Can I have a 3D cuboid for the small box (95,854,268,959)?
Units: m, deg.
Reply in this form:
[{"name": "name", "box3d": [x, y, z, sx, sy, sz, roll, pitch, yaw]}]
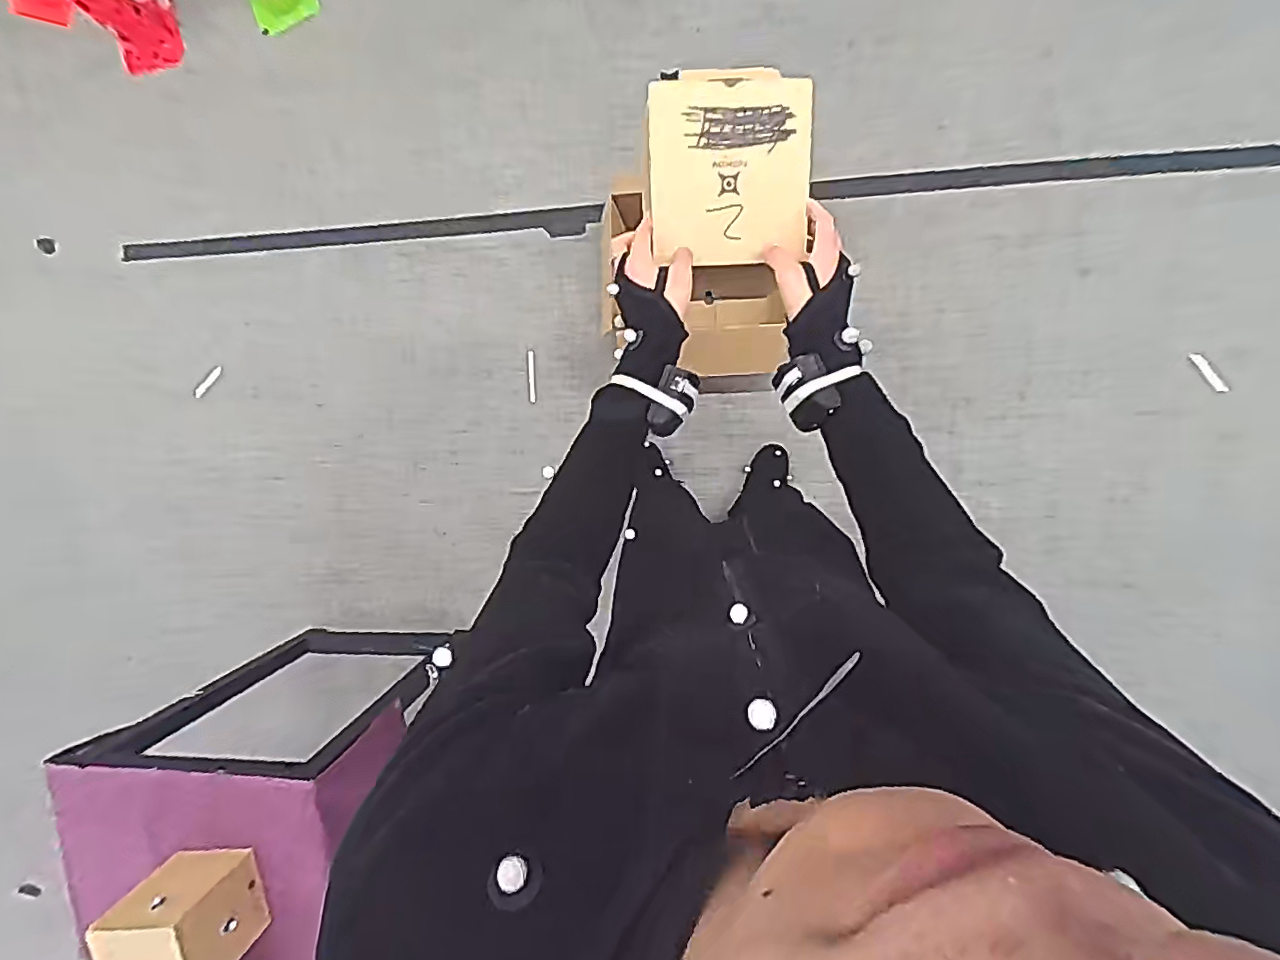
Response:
[{"name": "small box", "box3d": [-0.835, 0.834, 1.008, 0.179, 0.176, 0.168, -8, 96, 9]}]
